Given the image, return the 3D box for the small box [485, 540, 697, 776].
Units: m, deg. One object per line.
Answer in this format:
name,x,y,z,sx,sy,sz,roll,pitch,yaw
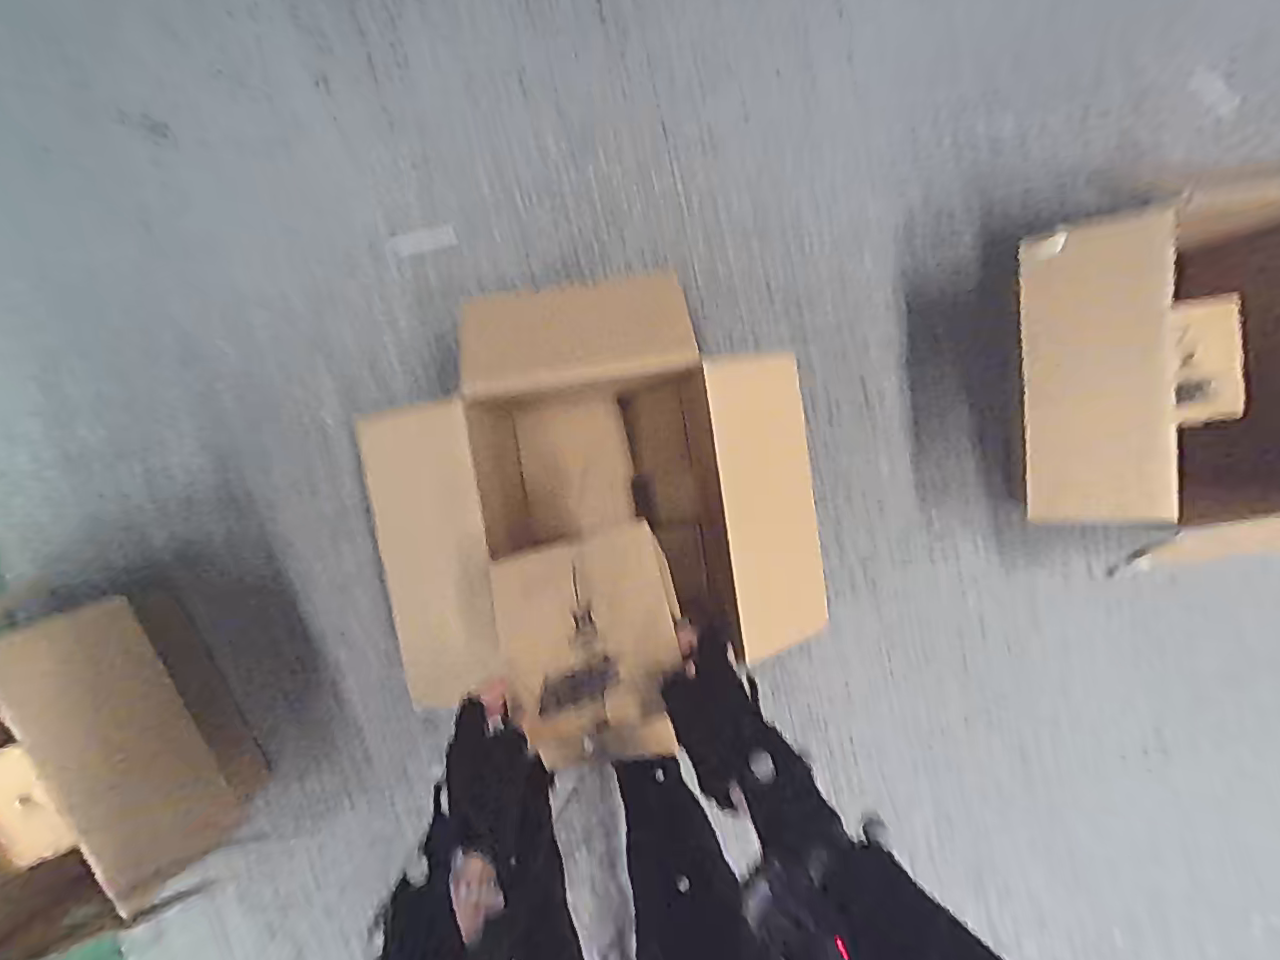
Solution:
small box,-0.042,0.183,0.561,0.168,0.176,0.179,-16,66,2
